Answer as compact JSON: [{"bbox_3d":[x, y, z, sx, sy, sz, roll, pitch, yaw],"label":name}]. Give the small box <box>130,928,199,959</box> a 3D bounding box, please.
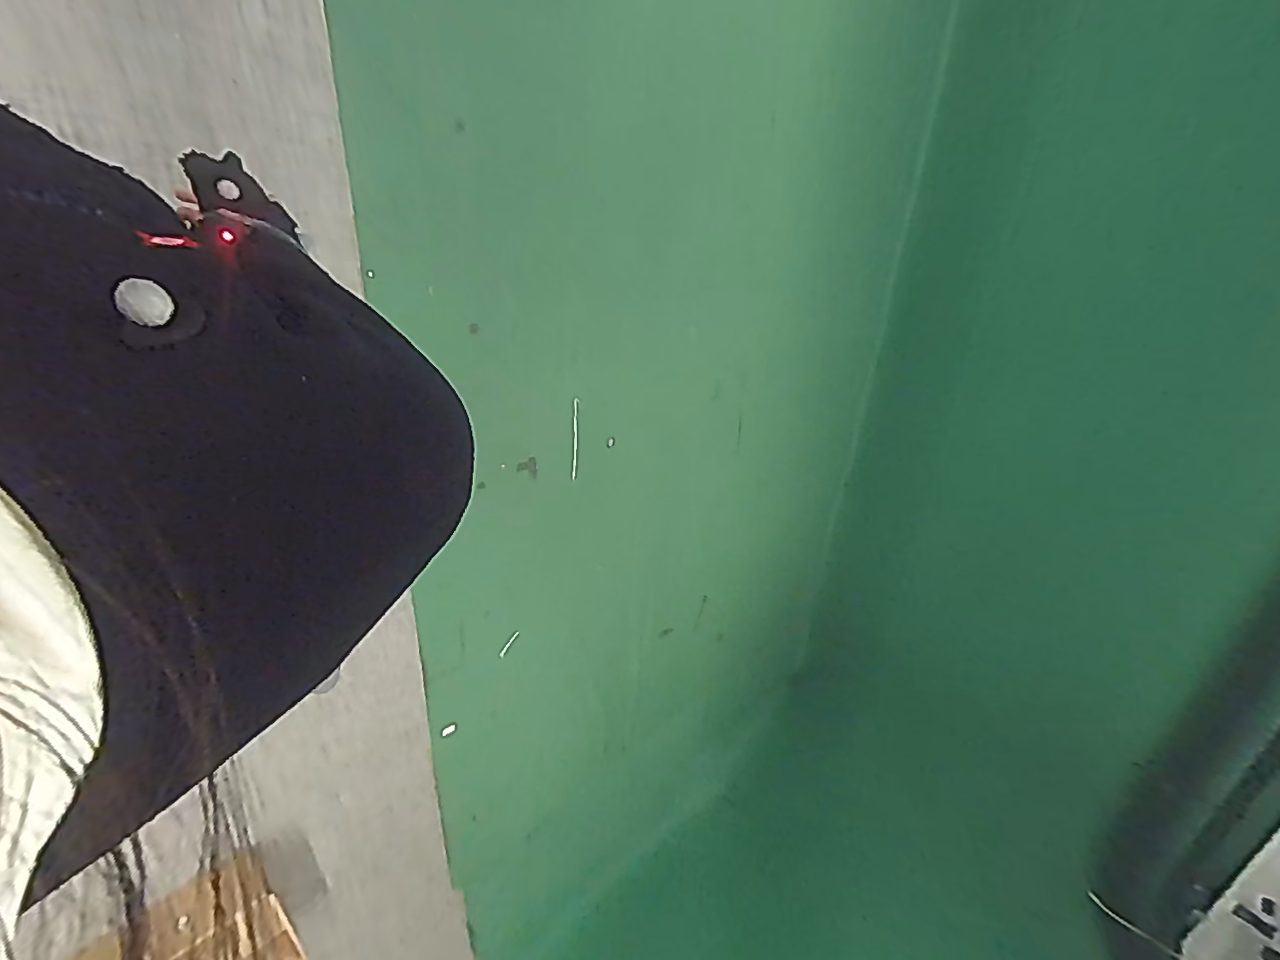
[{"bbox_3d":[-1.278,1.356,1.424,0.179,0.176,0.168,-25,128,-41],"label":"small box"}]
